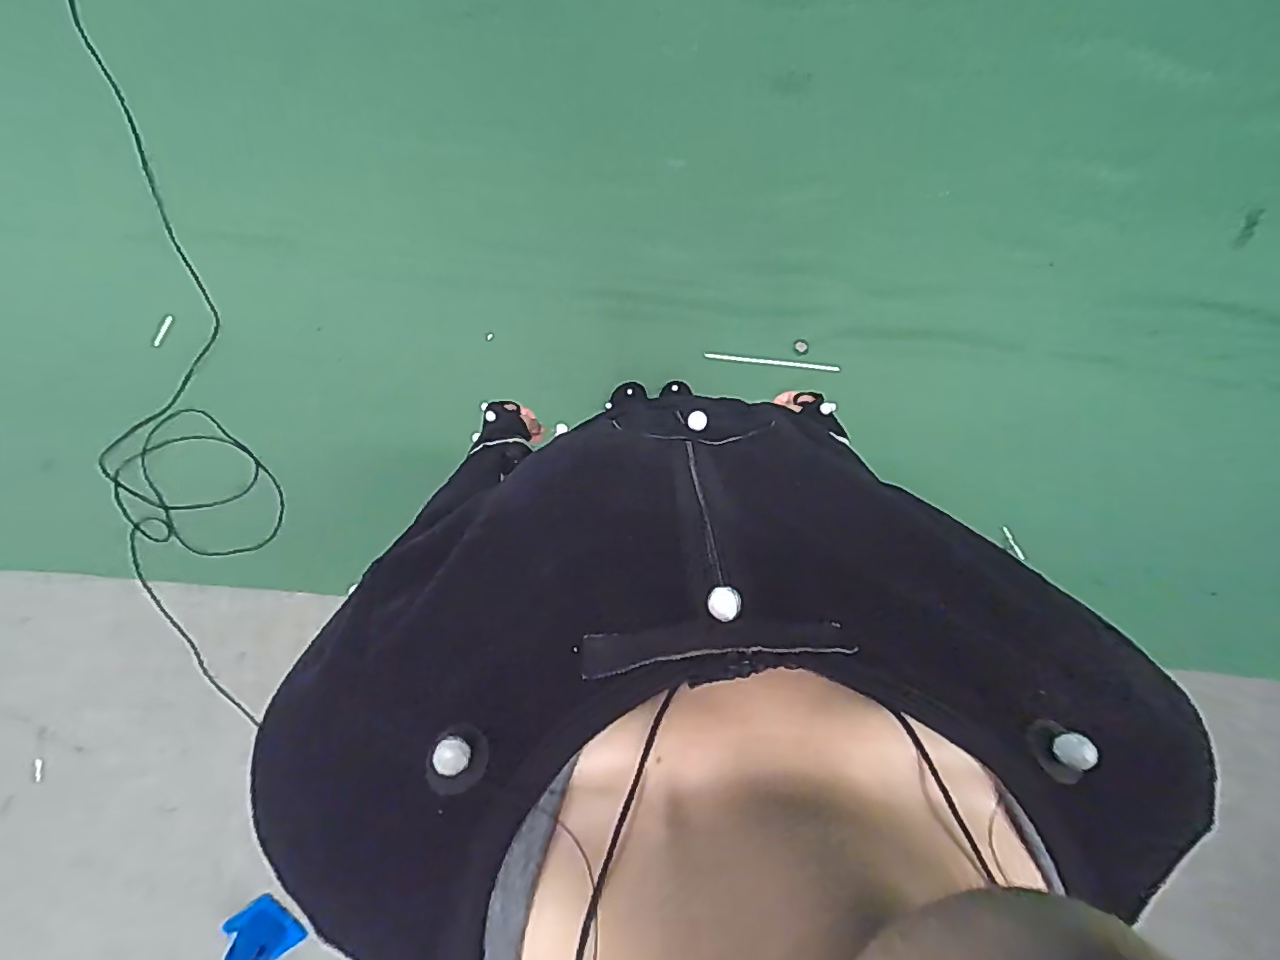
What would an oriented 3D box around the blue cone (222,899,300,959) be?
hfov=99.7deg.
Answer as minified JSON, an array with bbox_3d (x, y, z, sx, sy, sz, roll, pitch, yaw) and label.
[{"bbox_3d":[-1.171,1.440,1.522,0.193,0.380,0.192,-38,100,6],"label":"blue cone"}]
